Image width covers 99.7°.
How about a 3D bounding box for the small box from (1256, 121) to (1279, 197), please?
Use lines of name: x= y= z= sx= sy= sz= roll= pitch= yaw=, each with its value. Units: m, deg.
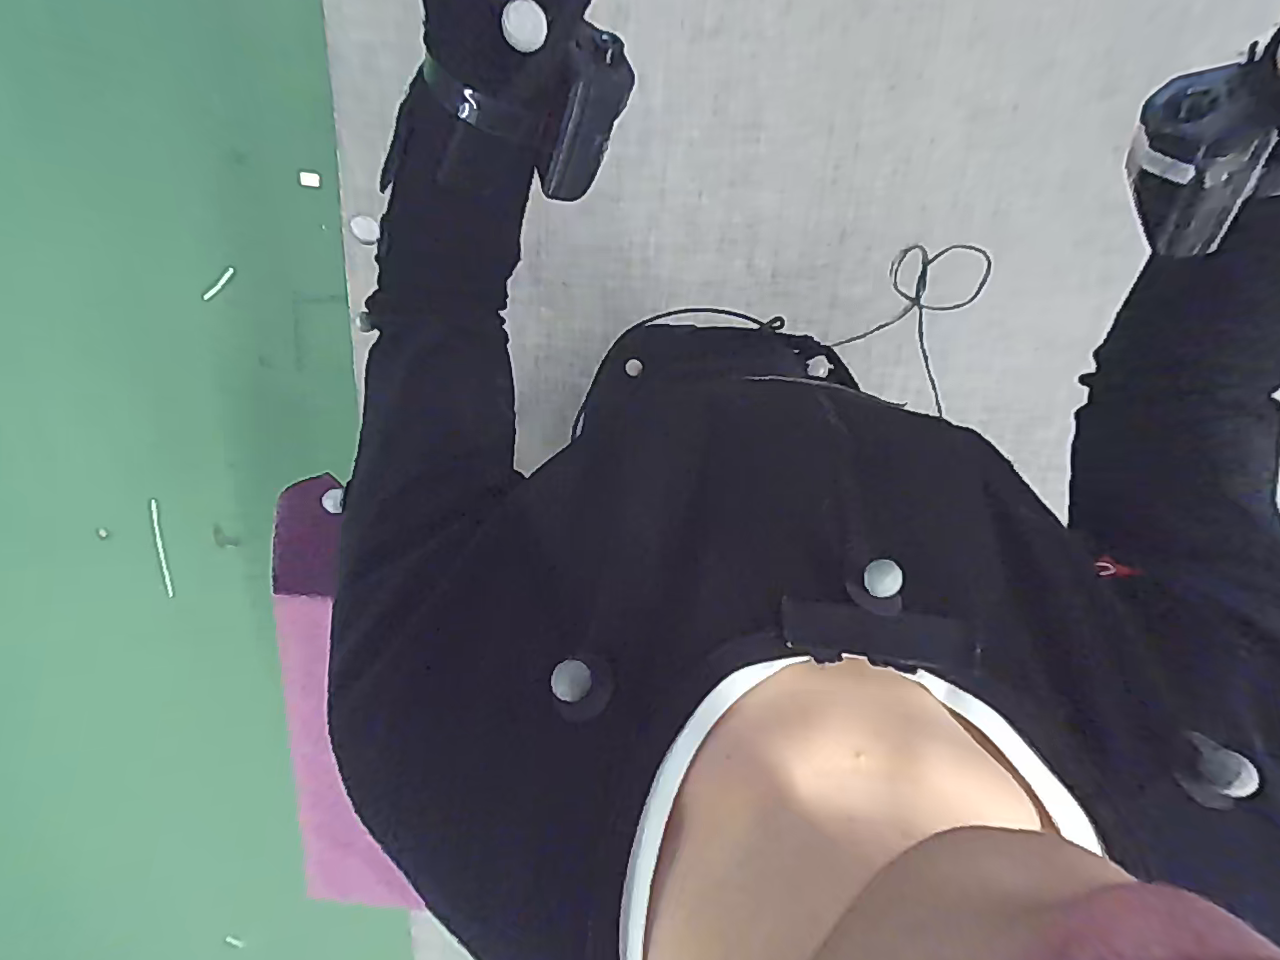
small box: x=1.486 y=-0.700 z=1.131 sx=0.179 sy=0.176 sz=0.168 roll=4 pitch=104 yaw=3
